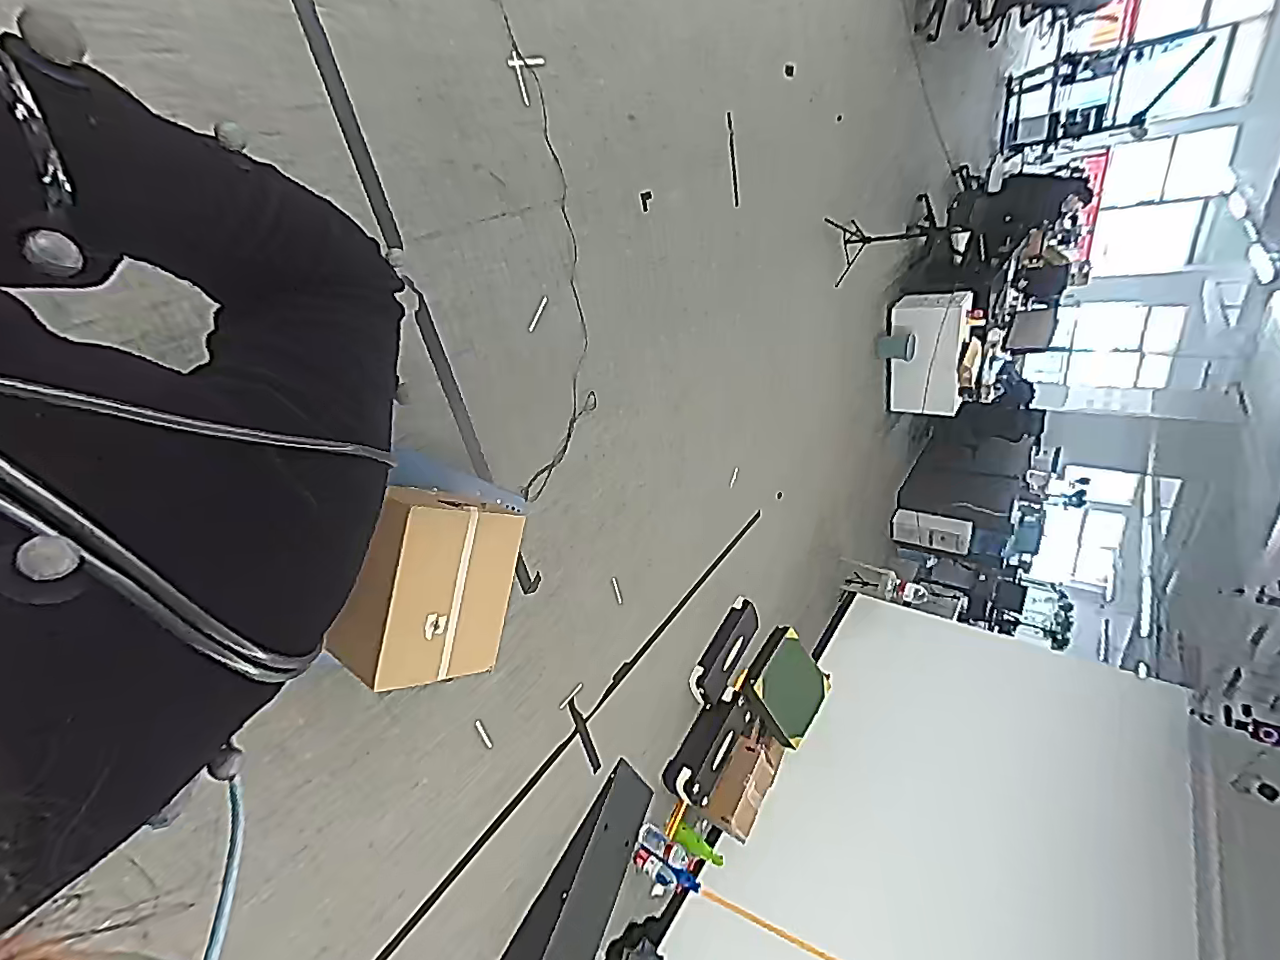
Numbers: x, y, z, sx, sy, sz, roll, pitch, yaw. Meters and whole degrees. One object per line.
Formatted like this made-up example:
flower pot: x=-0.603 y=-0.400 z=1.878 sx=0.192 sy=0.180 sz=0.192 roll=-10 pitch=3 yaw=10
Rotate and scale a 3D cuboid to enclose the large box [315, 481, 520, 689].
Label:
large box: x=-0.544 y=0.233 z=1.328 sx=0.320 sy=0.320 sz=0.408 roll=11 pitch=91 yaw=-51
